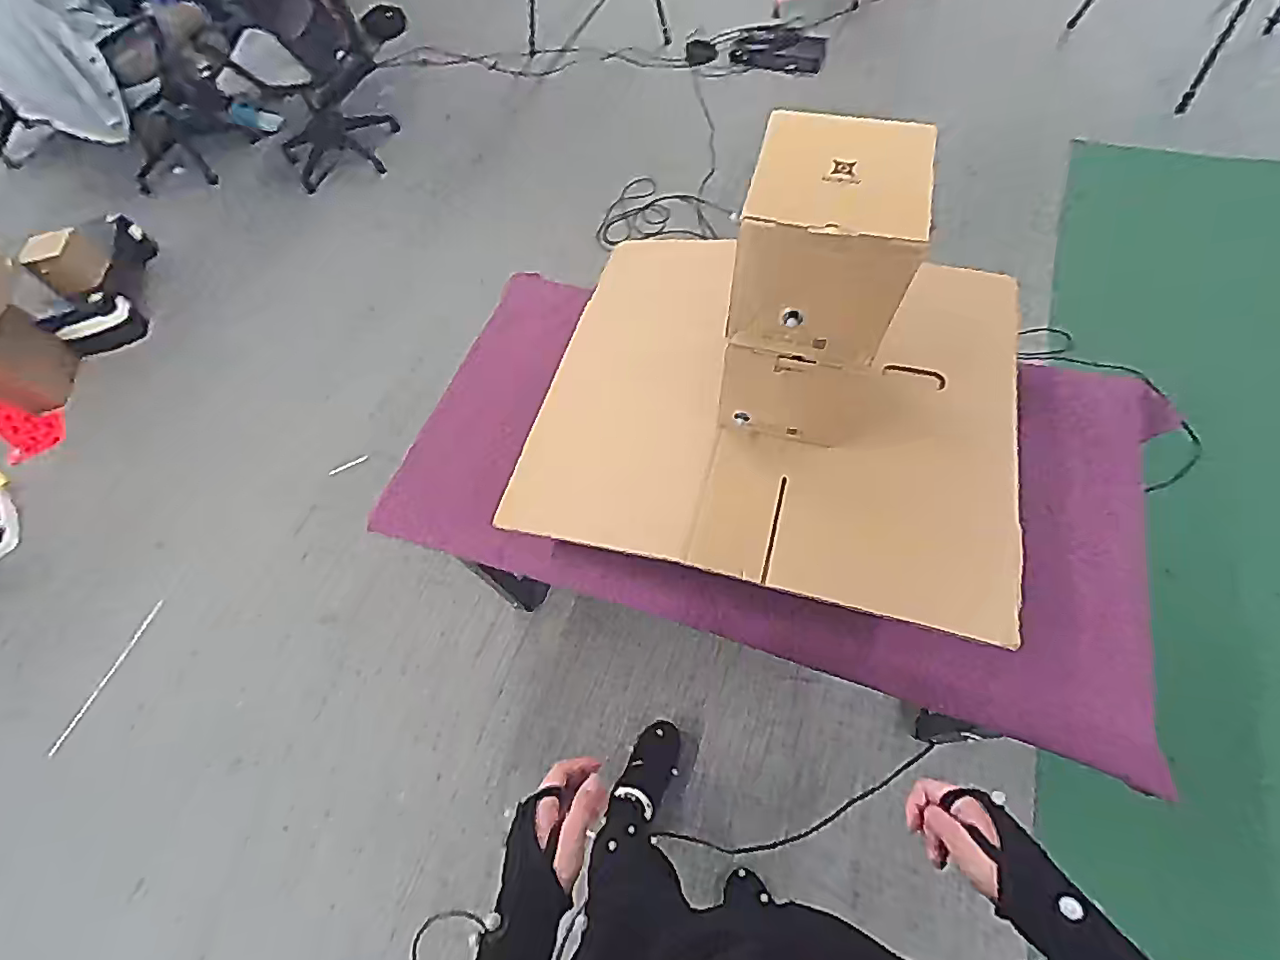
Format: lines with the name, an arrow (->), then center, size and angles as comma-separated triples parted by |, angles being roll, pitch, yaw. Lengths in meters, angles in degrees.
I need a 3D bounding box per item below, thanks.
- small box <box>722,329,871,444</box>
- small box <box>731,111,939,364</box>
small box -> 0.208, -0.171, 0.723 | 0.168, 0.176, 0.179 | 13, 64, 10
small box -> 0.199, -0.253, 0.584 | 0.168, 0.176, 0.179 | 13, 65, 9
